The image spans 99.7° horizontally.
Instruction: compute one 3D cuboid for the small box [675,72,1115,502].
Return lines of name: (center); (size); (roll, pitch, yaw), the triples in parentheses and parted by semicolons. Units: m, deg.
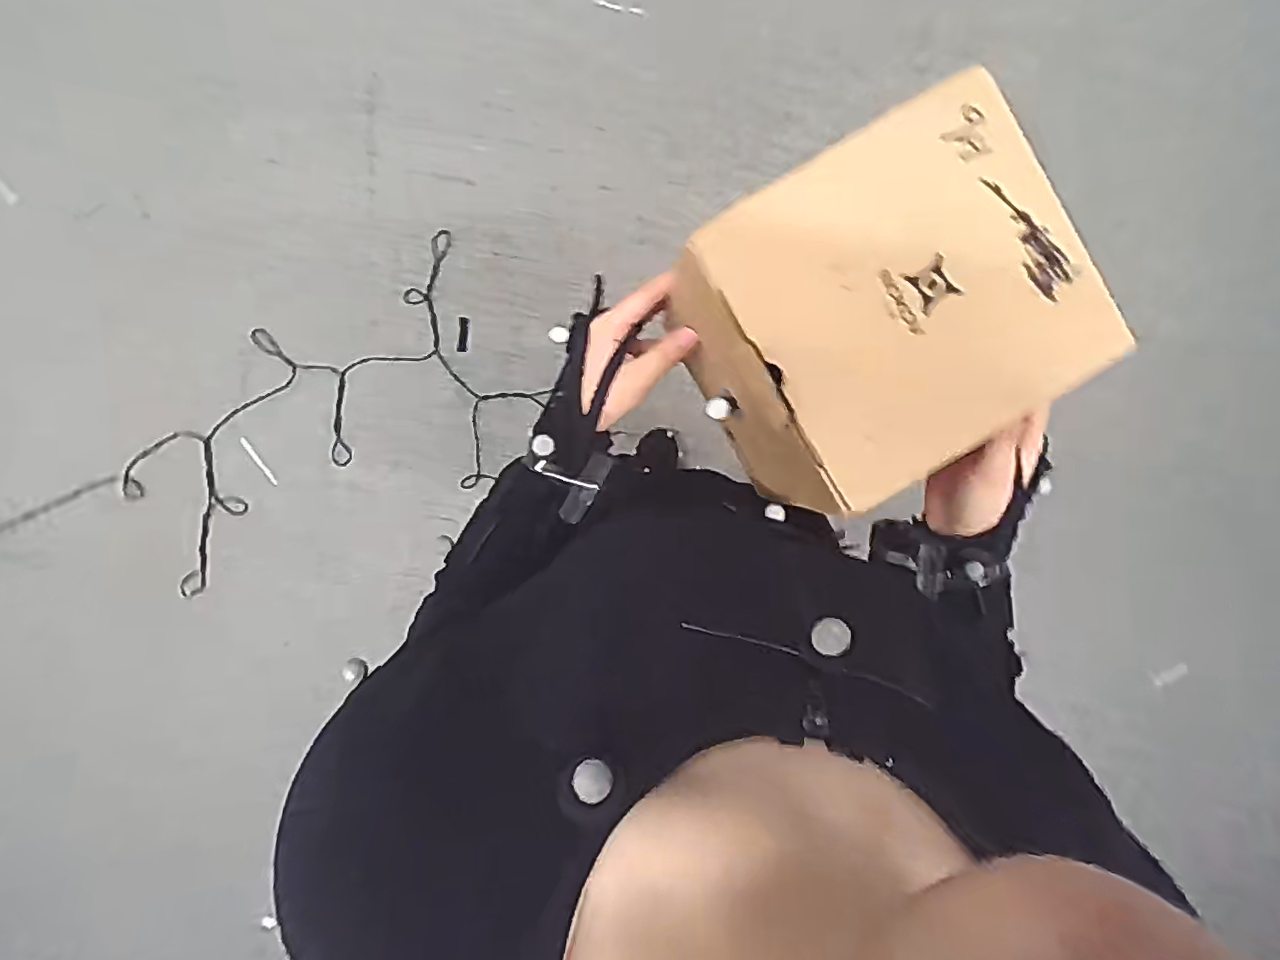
small box: (0.134, -0.100, 0.360); (0.179, 0.176, 0.168); (-31, 92, 0)
